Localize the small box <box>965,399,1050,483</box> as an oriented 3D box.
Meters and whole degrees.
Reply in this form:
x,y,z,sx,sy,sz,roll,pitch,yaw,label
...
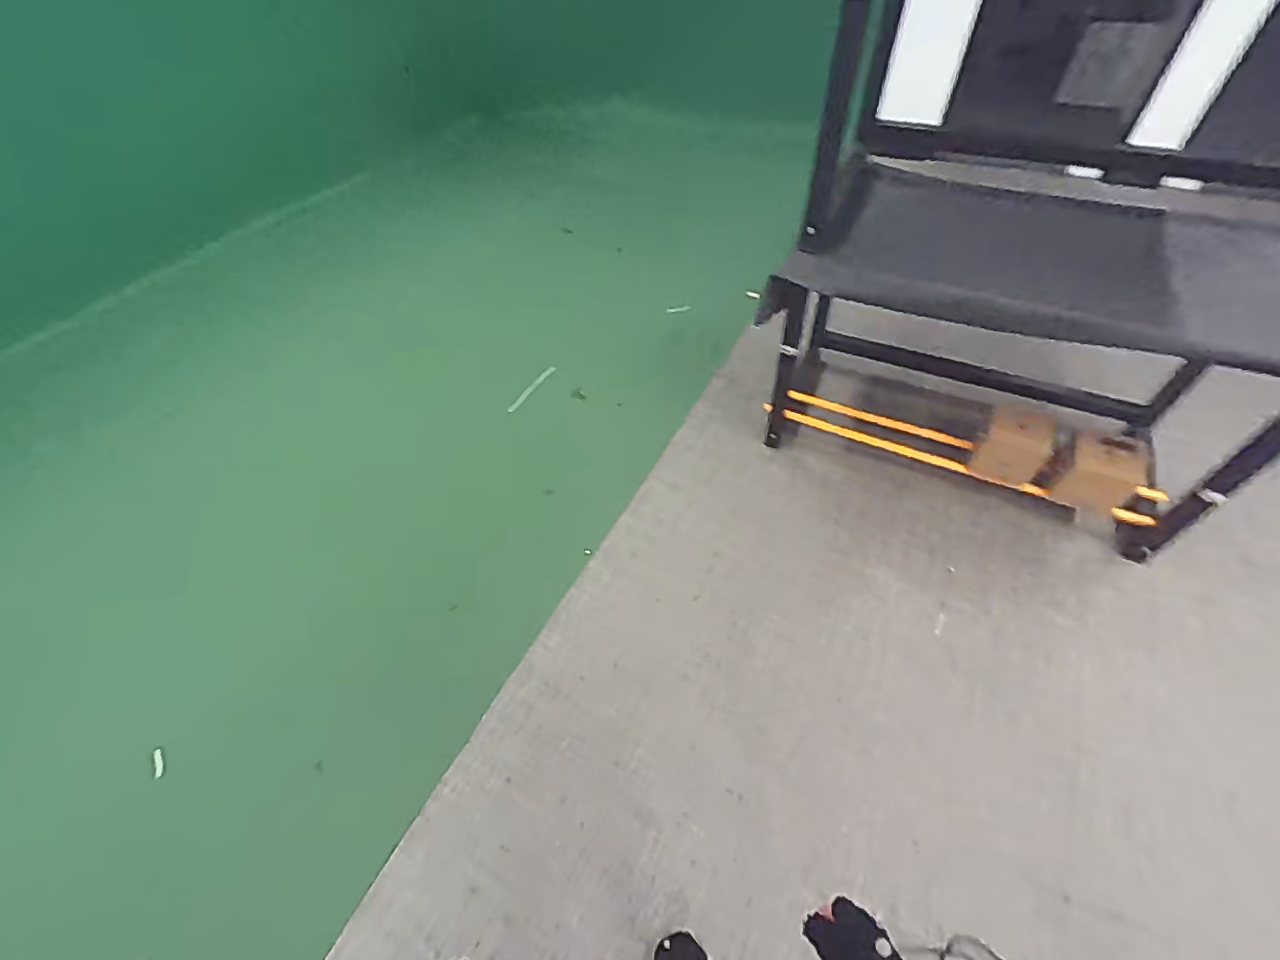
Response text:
x,y,z,sx,sy,sz,roll,pitch,yaw,label
1.137,-0.118,1.681,0.168,0.176,0.179,20,55,19,small box
